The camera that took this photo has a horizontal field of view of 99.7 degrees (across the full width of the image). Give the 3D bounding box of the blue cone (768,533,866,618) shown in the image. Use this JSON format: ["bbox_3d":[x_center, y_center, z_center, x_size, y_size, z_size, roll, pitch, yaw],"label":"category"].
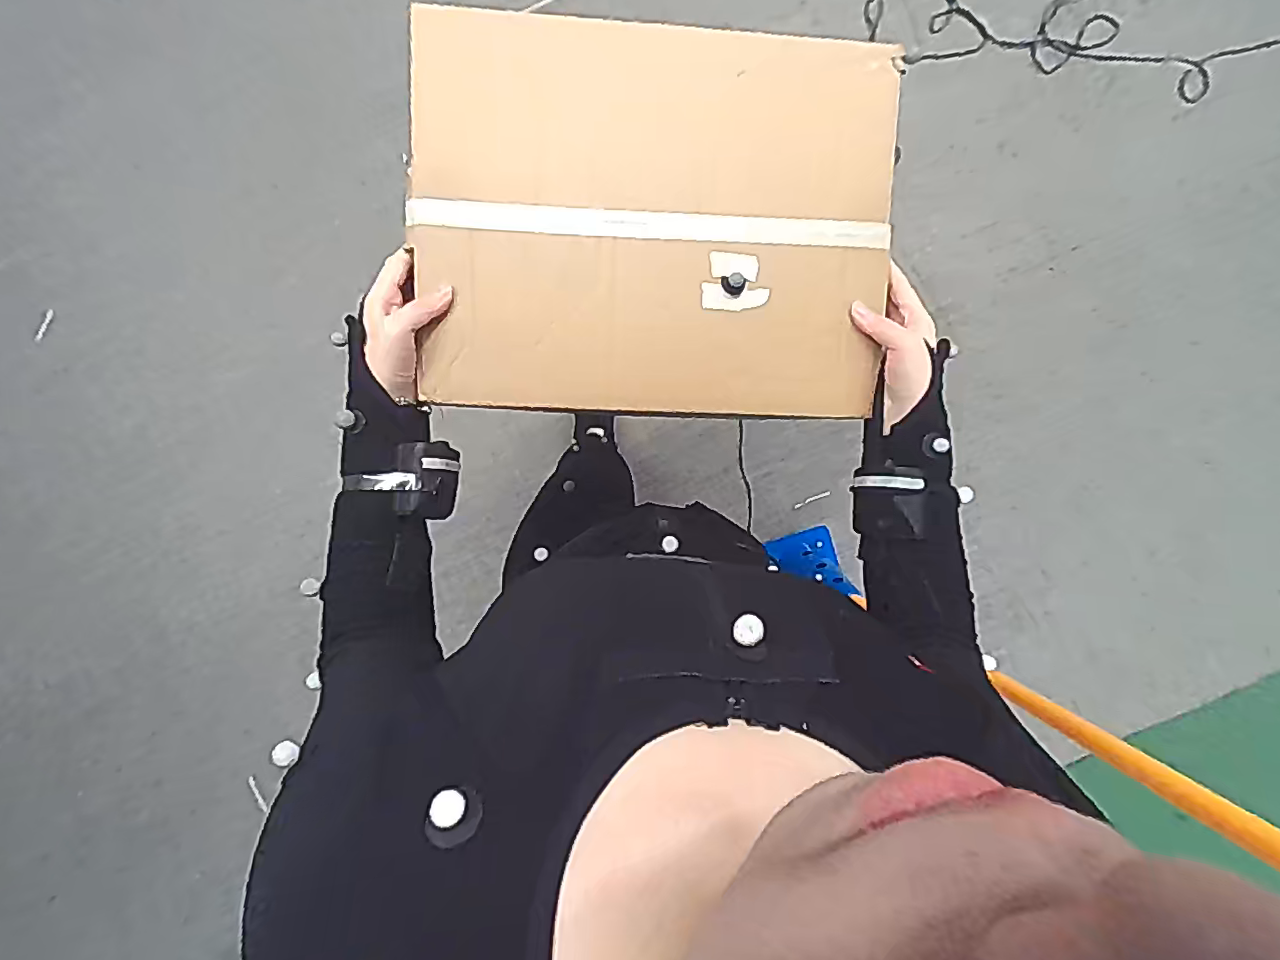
[{"bbox_3d":[0.461,0.260,1.337,0.193,0.380,0.192,-16,92,0],"label":"blue cone"}]

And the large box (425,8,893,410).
[{"bbox_3d":[0.005,-0.242,0.614,0.408,0.320,0.320,2,97,-5],"label":"large box"}]
